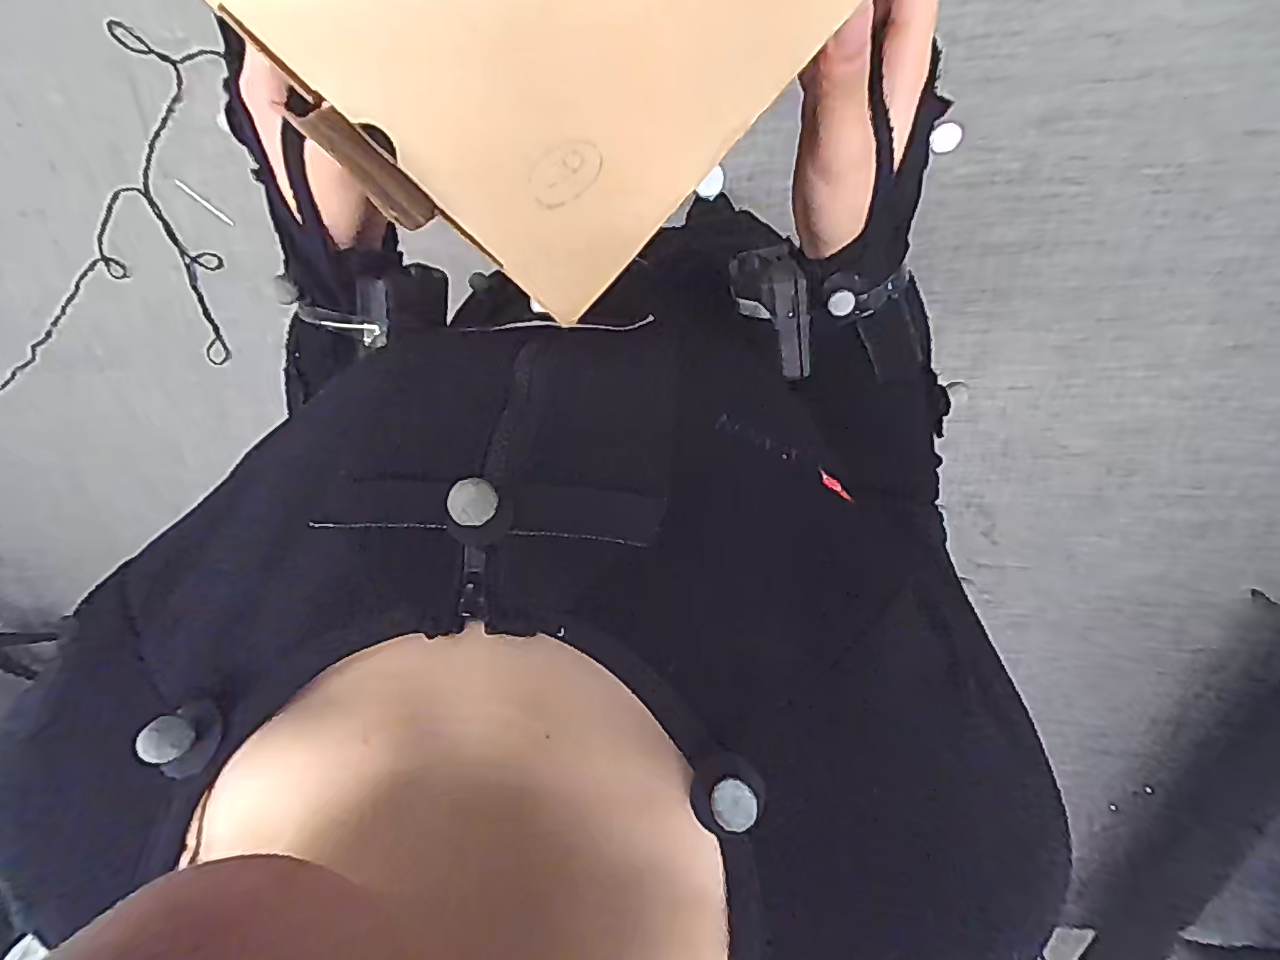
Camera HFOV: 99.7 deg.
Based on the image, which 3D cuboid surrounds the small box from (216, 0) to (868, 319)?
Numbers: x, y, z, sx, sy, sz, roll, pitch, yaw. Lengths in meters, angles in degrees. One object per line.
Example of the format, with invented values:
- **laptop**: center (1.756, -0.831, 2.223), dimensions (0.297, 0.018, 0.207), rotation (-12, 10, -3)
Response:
- **small box**: center (-0.023, -0.202, 0.217), dimensions (0.168, 0.176, 0.179), rotation (41, 115, -20)
